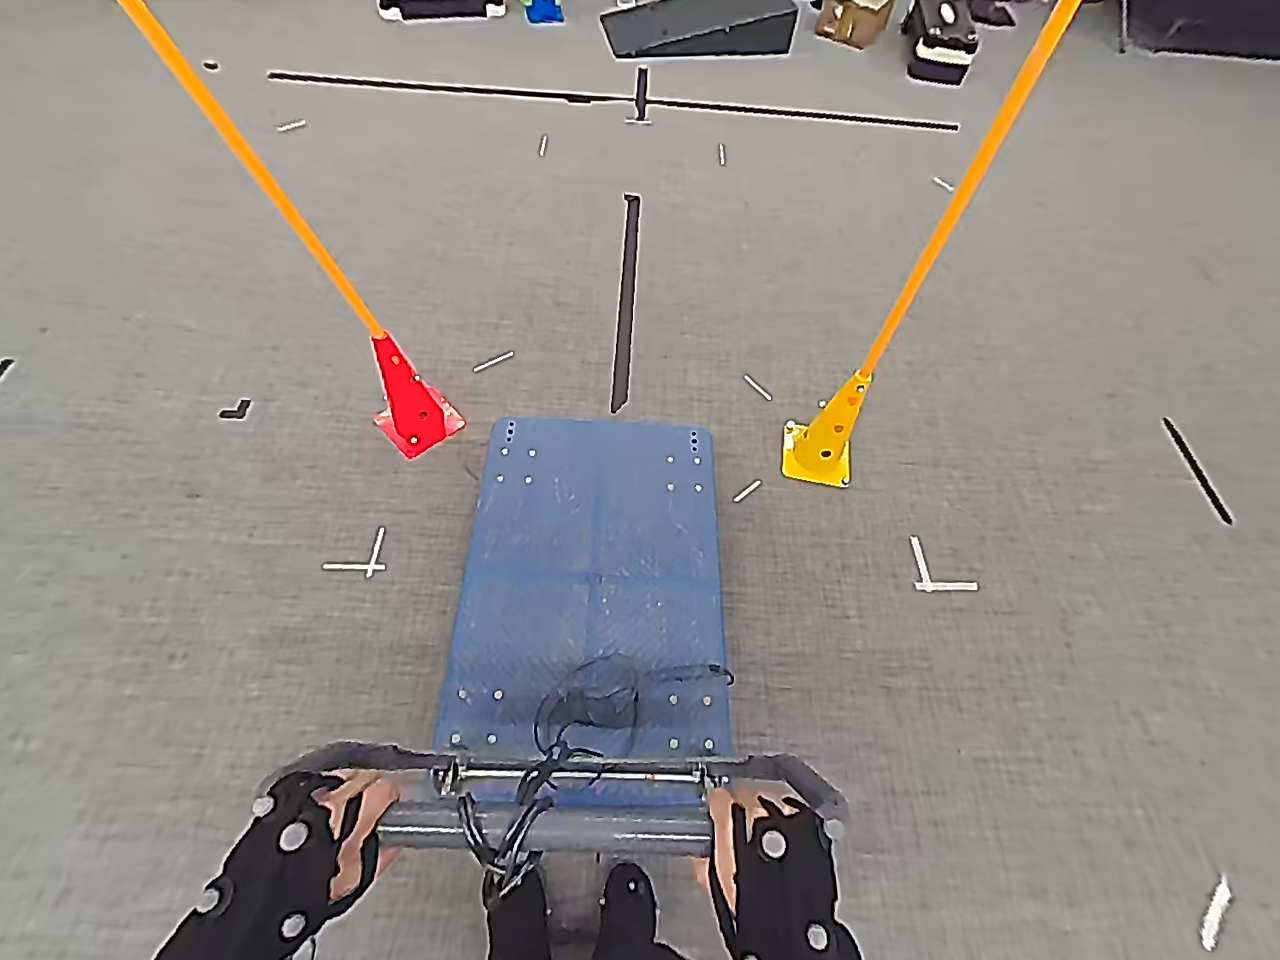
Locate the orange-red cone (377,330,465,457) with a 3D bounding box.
[{"bbox_3d":[-0.632,-0.261,1.454,0.199,0.360,0.198,-37,69,-24],"label":"orange-red cone"}]
